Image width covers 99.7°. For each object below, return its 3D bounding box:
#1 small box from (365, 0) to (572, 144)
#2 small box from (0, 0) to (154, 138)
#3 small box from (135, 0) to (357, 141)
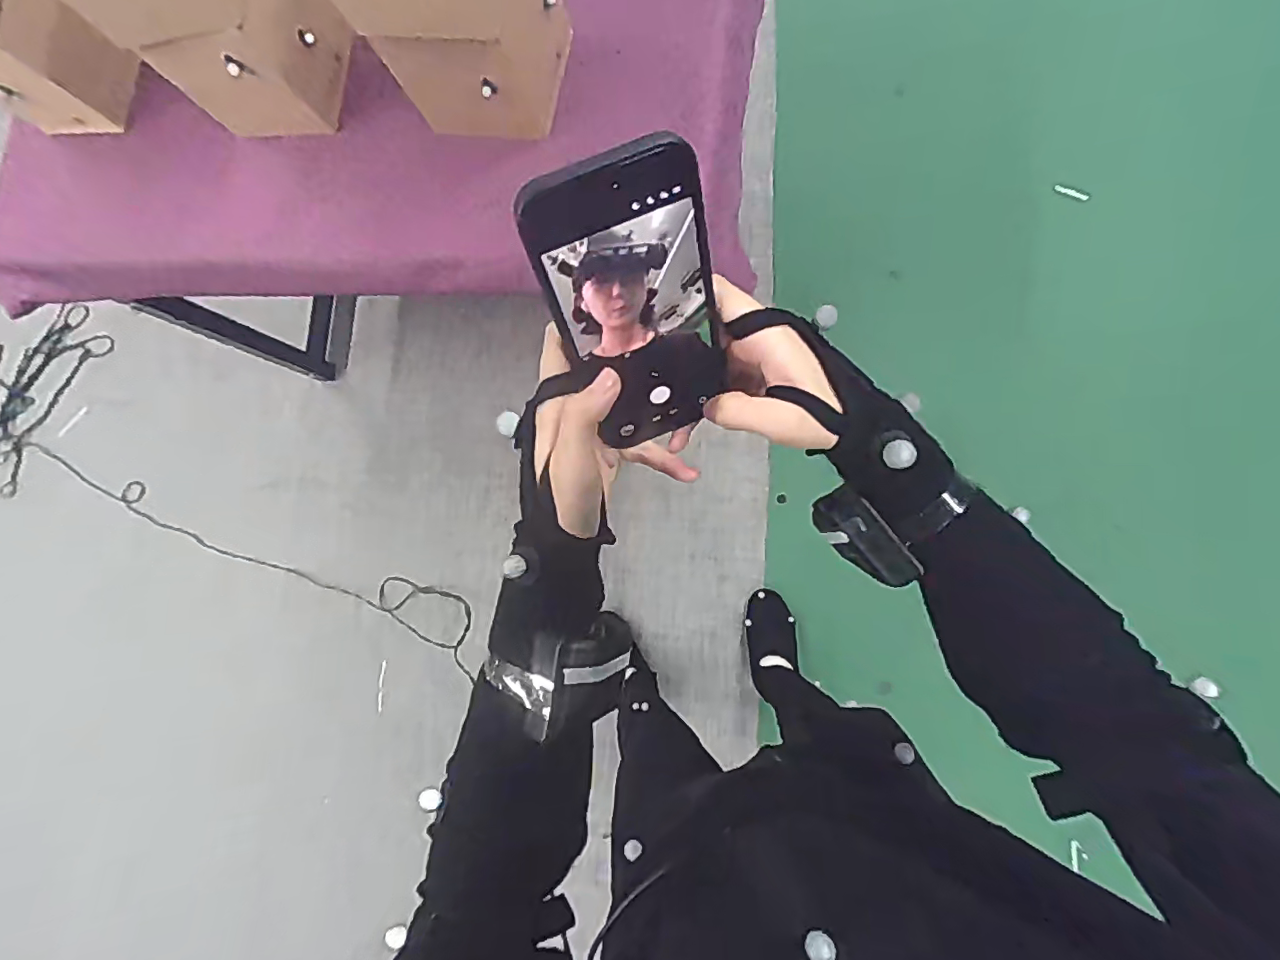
[{"bbox_3d":[-0.202,-0.562,0.688,0.179,0.176,0.168,12,84,12],"label":"small box"},{"bbox_3d":[-0.912,-0.662,0.836,0.168,0.176,0.179,6,83,11],"label":"small box"},{"bbox_3d":[-0.533,-0.607,0.755,0.179,0.176,0.168,5,83,11],"label":"small box"}]
